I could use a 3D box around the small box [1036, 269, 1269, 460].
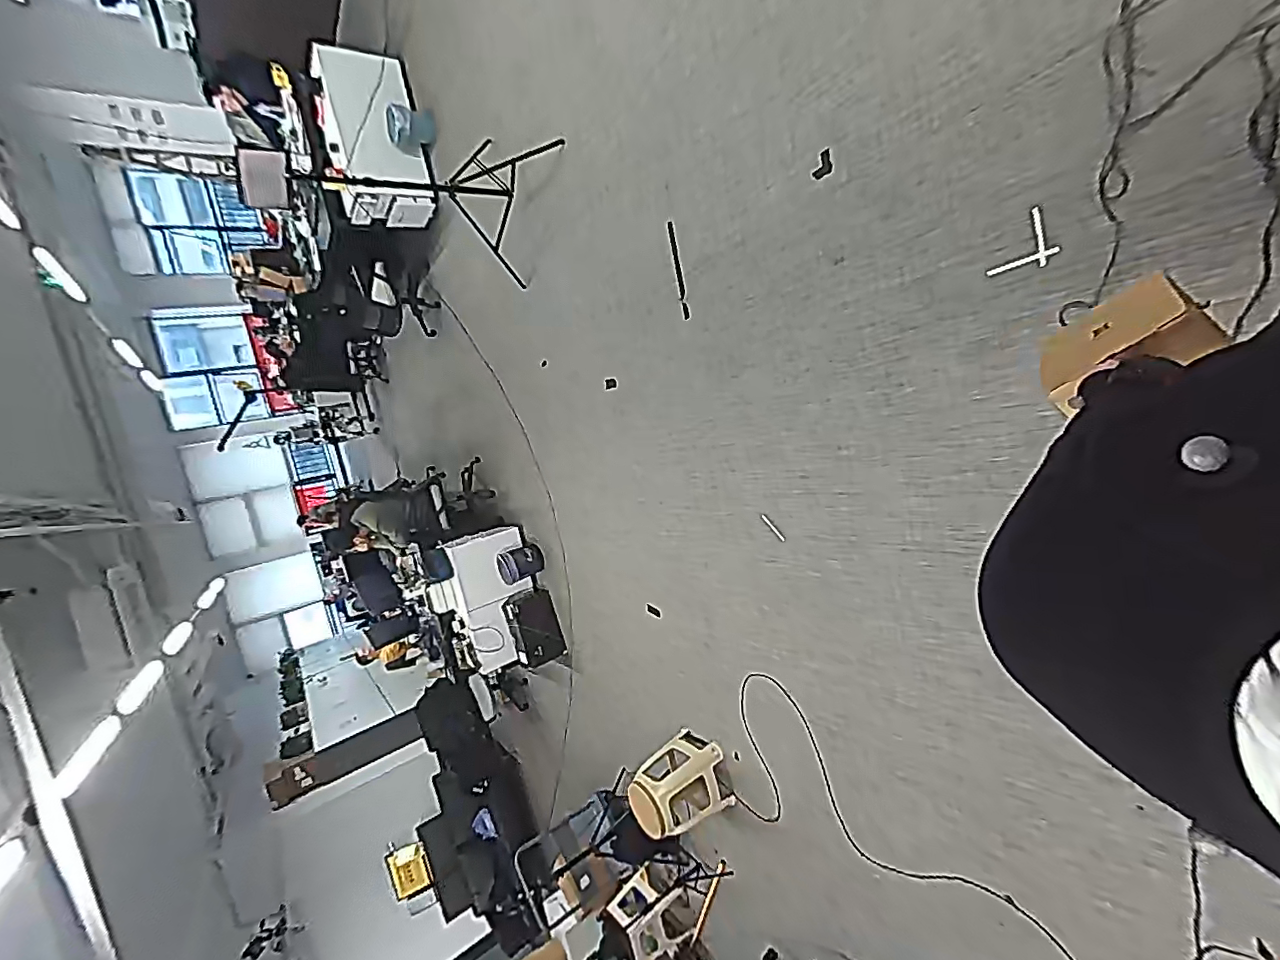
[{"bbox_3d":[0.696,-0.152,0.752,0.176,0.179,0.168,41,136,-4],"label":"small box"}]
